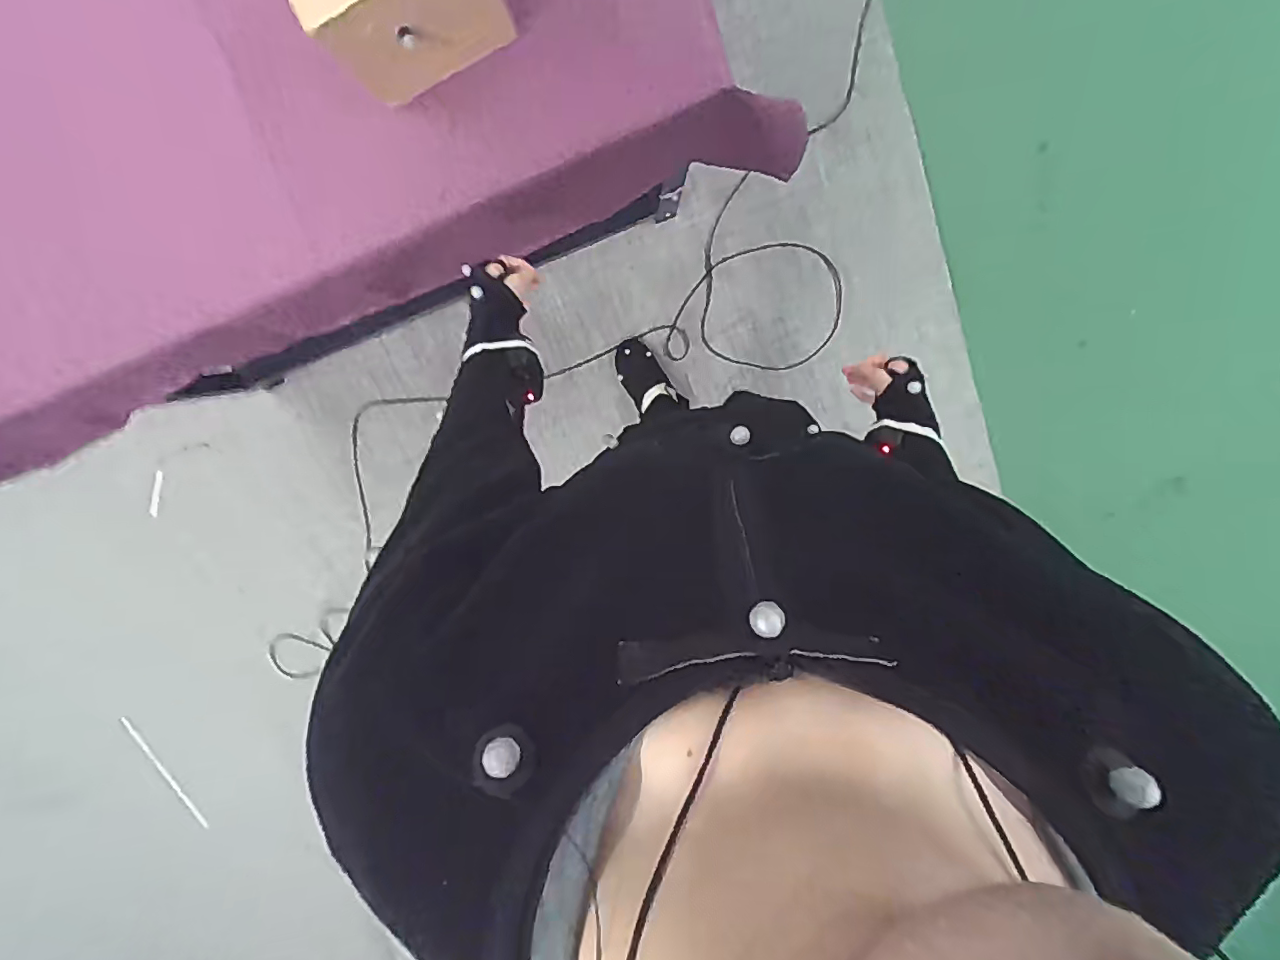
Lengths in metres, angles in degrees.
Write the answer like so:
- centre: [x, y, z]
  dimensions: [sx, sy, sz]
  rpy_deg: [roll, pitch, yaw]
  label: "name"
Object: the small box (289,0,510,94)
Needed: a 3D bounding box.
- centre: [-0.256, -0.534, 0.537]
  dimensions: [0.179, 0.176, 0.168]
  rpy_deg: [-24, 103, 7]
  label: "small box"
